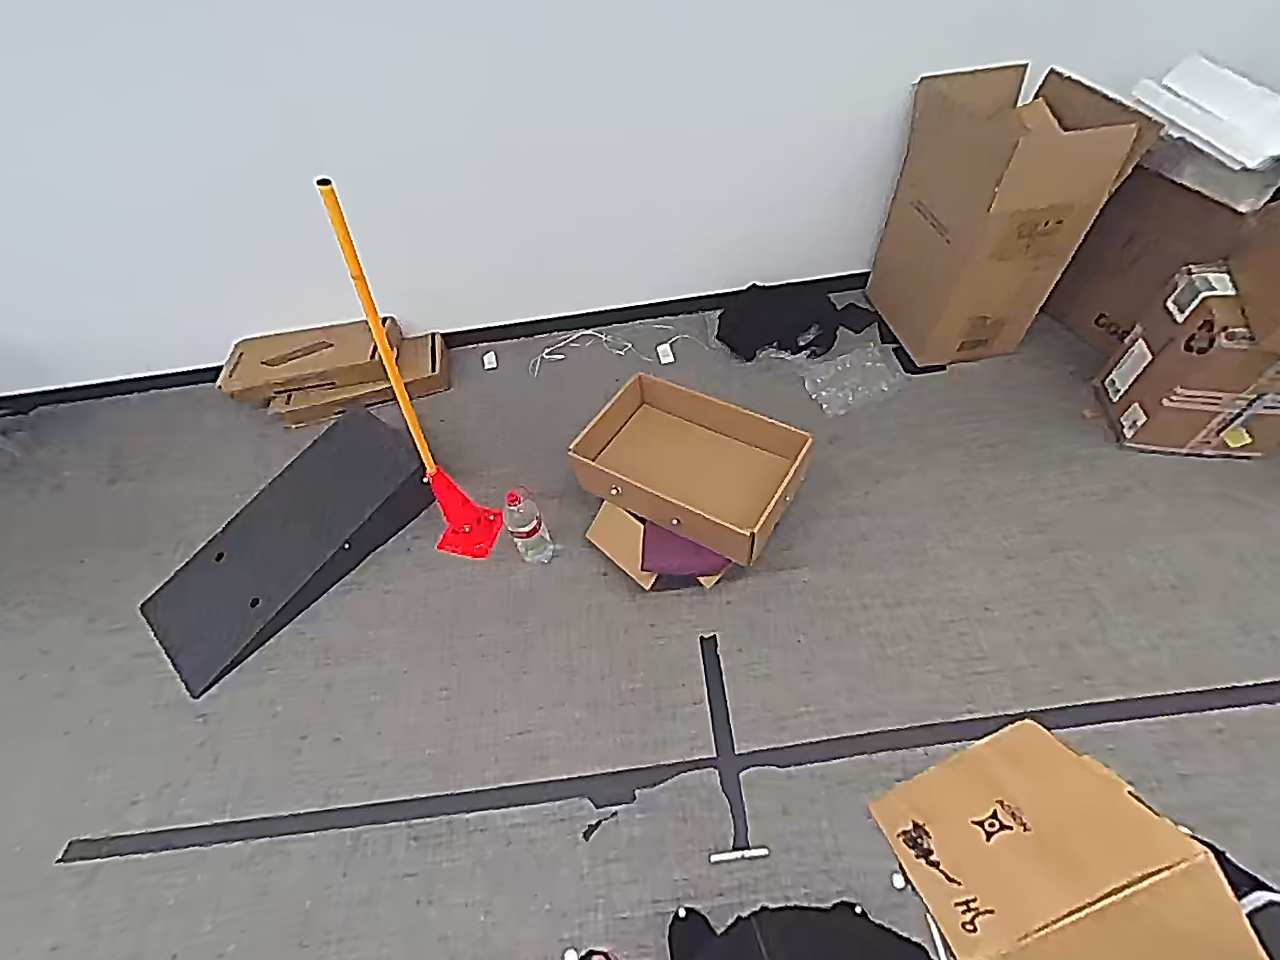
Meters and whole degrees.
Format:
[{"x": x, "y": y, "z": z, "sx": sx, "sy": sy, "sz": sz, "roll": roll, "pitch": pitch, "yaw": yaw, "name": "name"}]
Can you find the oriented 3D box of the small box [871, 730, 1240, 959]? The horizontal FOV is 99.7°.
[{"x": 0.335, "y": 0.355, "z": 0.446, "sx": 0.179, "sy": 0.168, "sz": 0.176, "roll": -29, "pitch": 92, "yaw": 3, "name": "small box"}]
